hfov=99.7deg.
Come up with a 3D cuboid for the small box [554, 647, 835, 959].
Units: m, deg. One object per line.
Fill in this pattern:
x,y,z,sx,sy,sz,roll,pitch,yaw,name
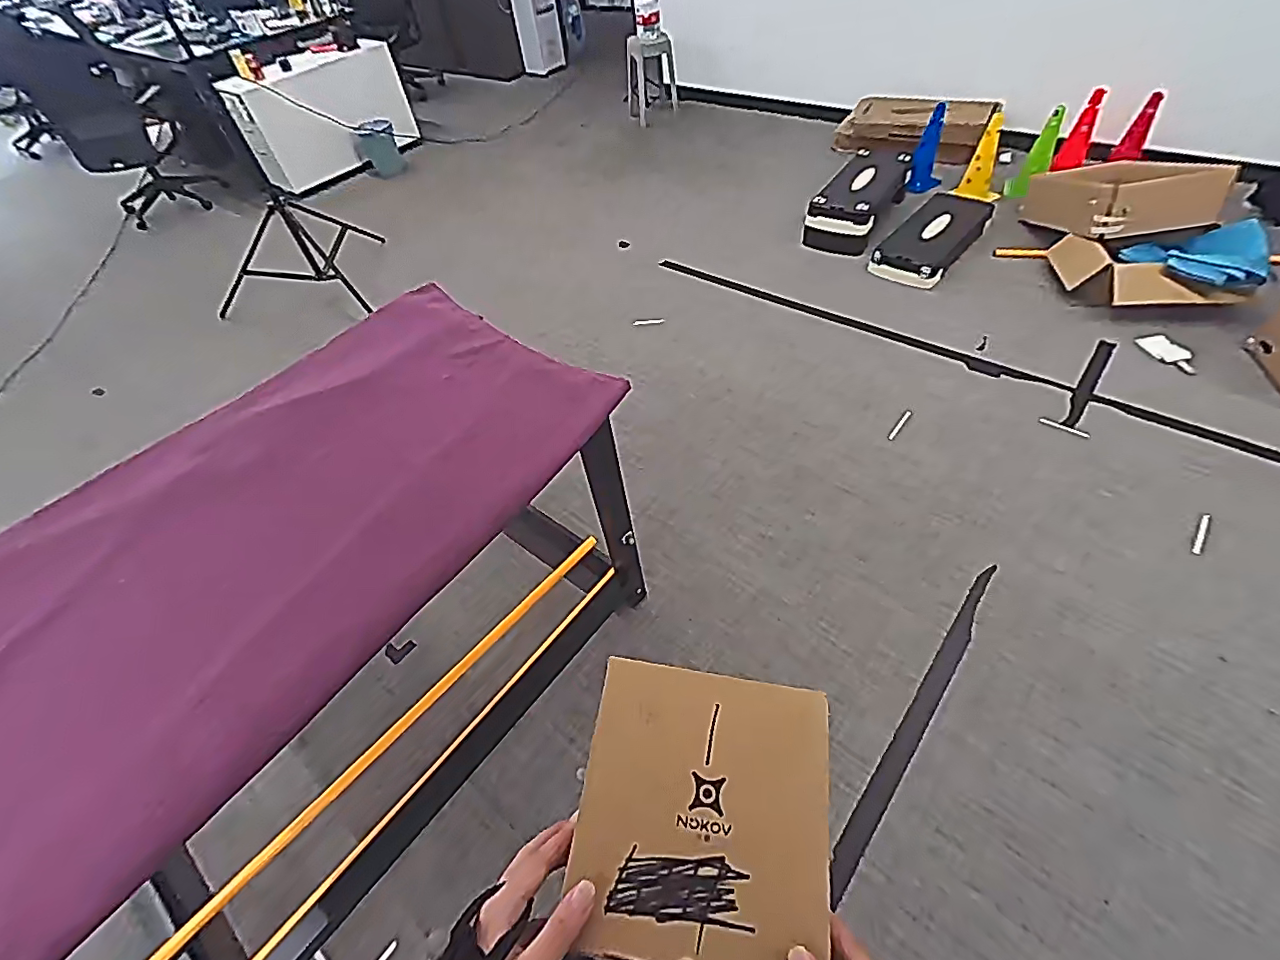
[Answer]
0.045,0.252,0.420,0.168,0.176,0.179,9,58,6,small box
